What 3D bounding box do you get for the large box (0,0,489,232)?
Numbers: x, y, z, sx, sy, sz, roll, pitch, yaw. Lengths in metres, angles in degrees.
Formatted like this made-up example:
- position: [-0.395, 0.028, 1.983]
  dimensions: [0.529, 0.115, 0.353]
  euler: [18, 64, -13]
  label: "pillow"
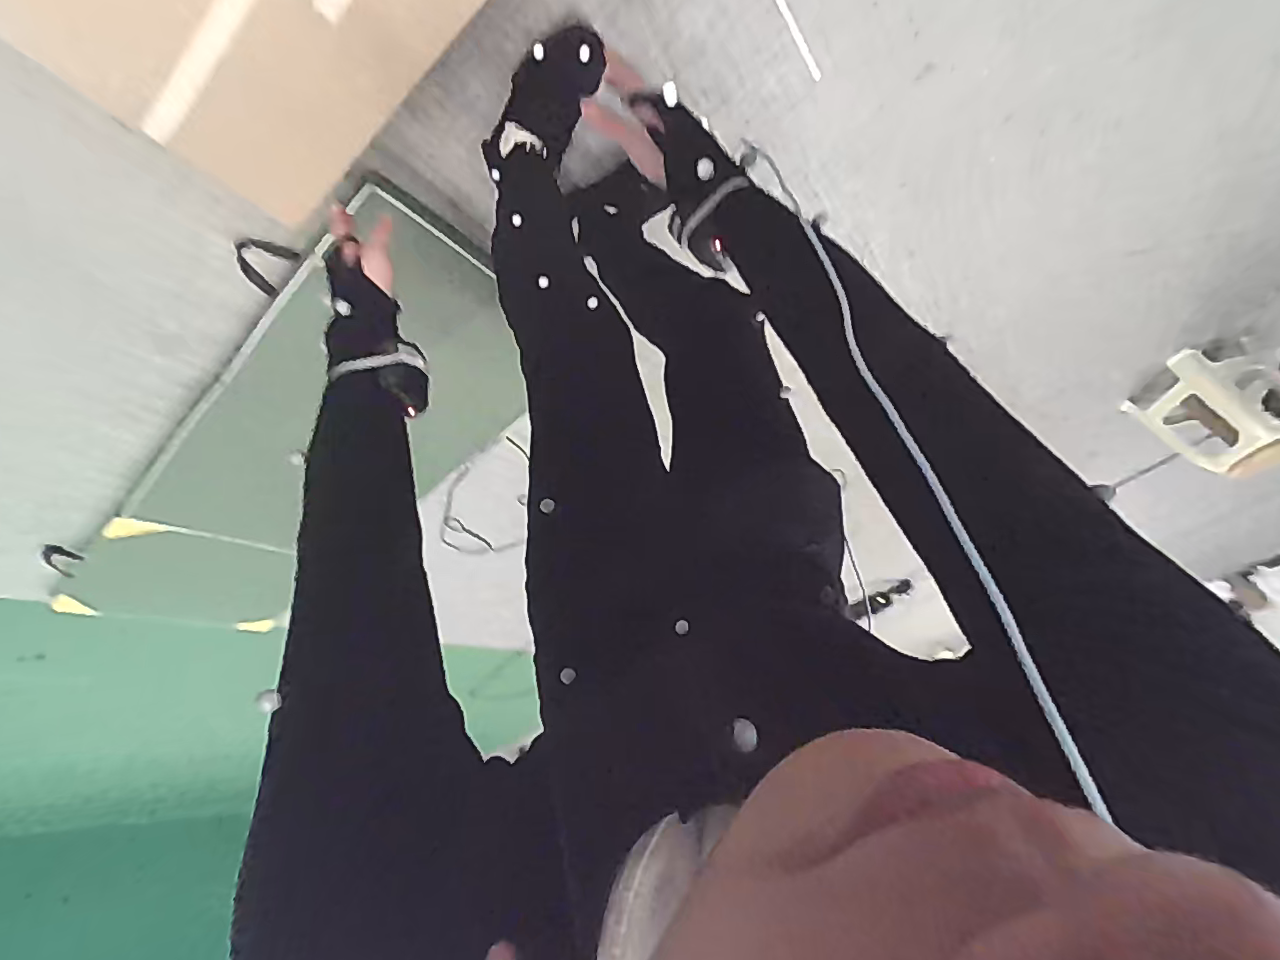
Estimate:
- position: [-0.427, -0.600, 0.630]
  dimensions: [0.408, 0.320, 0.320]
  euler: [-33, 143, 22]
  label: "large box"
